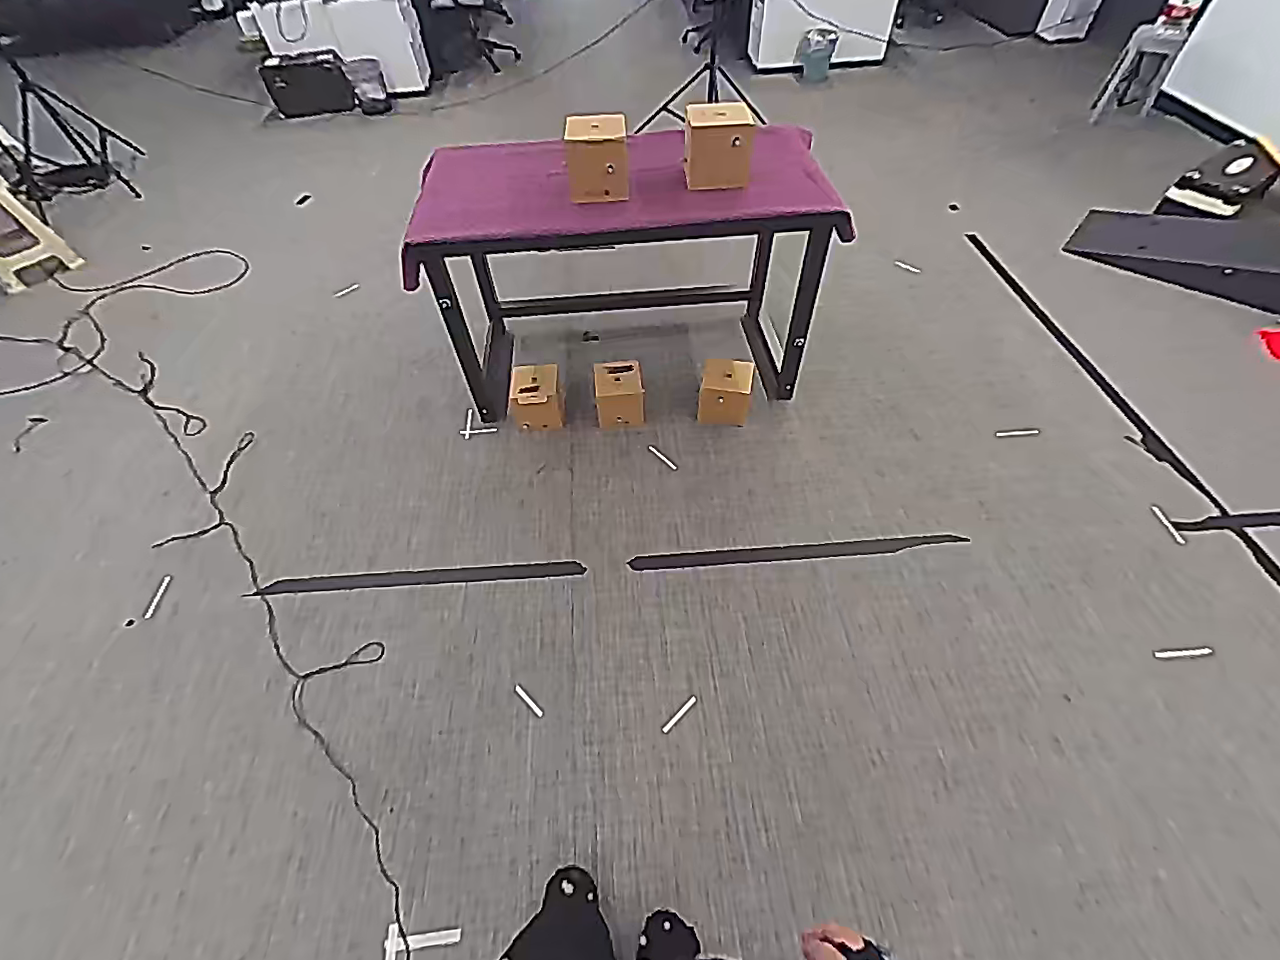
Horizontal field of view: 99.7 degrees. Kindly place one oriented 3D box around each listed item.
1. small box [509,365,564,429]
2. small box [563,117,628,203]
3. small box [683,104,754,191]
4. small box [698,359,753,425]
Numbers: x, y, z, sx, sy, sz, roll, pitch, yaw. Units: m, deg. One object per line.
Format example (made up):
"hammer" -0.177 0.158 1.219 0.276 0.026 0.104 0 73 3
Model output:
"small box" -0.378 -0.300 2.004 0.168 0.176 0.179 -4 51 -1
"small box" -0.123 -0.909 1.543 0.168 0.176 0.179 -3 50 -1
"small box" 0.221 -0.960 1.565 0.179 0.176 0.168 -4 51 0
"small box" 0.313 -0.320 1.991 0.179 0.176 0.168 8 54 10
